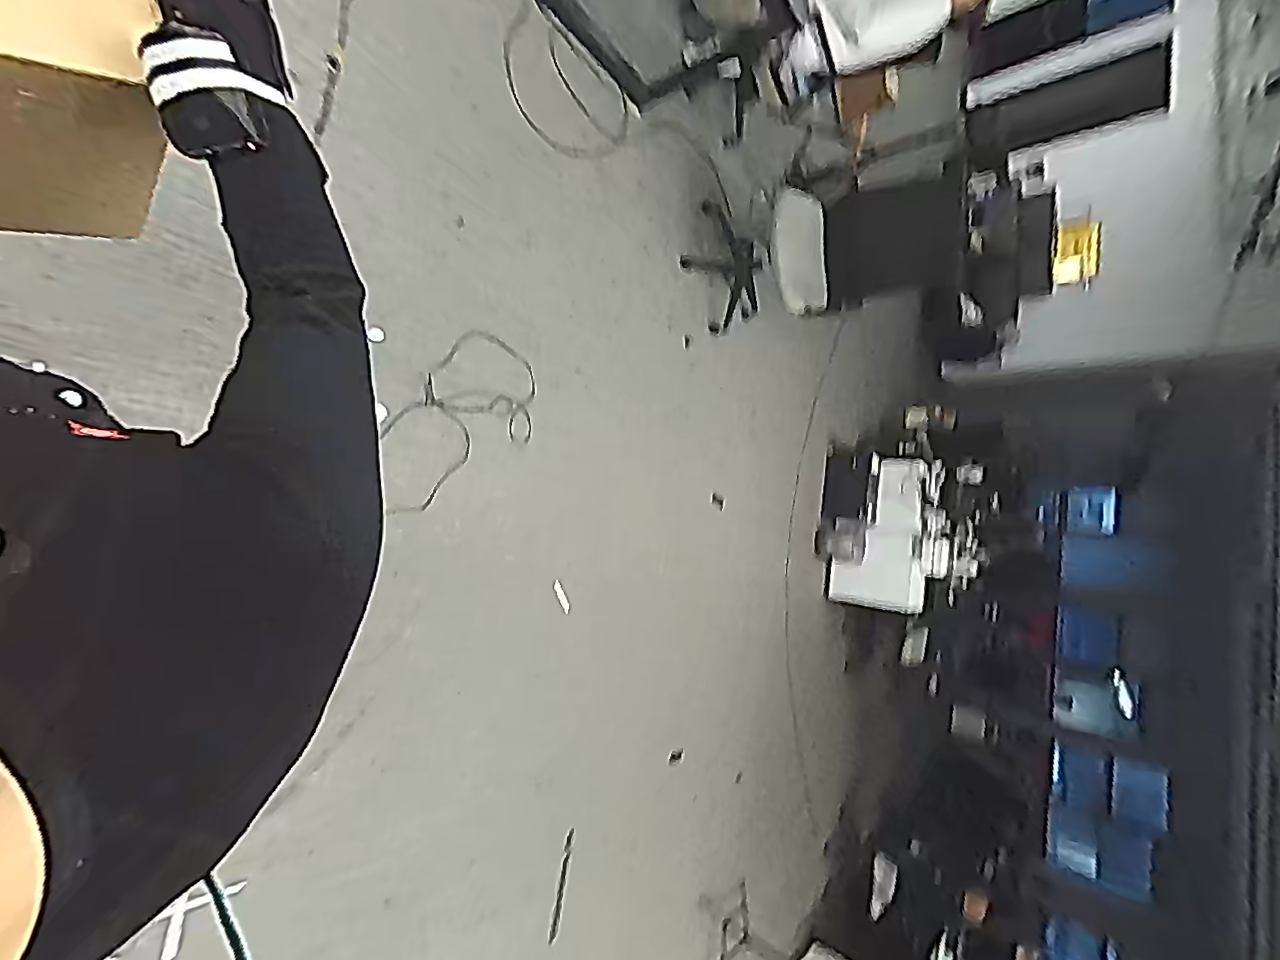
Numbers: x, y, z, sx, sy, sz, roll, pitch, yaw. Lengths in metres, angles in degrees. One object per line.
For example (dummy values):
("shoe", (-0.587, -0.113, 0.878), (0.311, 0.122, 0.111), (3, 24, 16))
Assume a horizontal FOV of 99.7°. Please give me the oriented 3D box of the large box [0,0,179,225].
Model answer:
("large box", (-0.592, -0.373, 0.318), (0.408, 0.320, 0.320), (-21, 104, -46))
